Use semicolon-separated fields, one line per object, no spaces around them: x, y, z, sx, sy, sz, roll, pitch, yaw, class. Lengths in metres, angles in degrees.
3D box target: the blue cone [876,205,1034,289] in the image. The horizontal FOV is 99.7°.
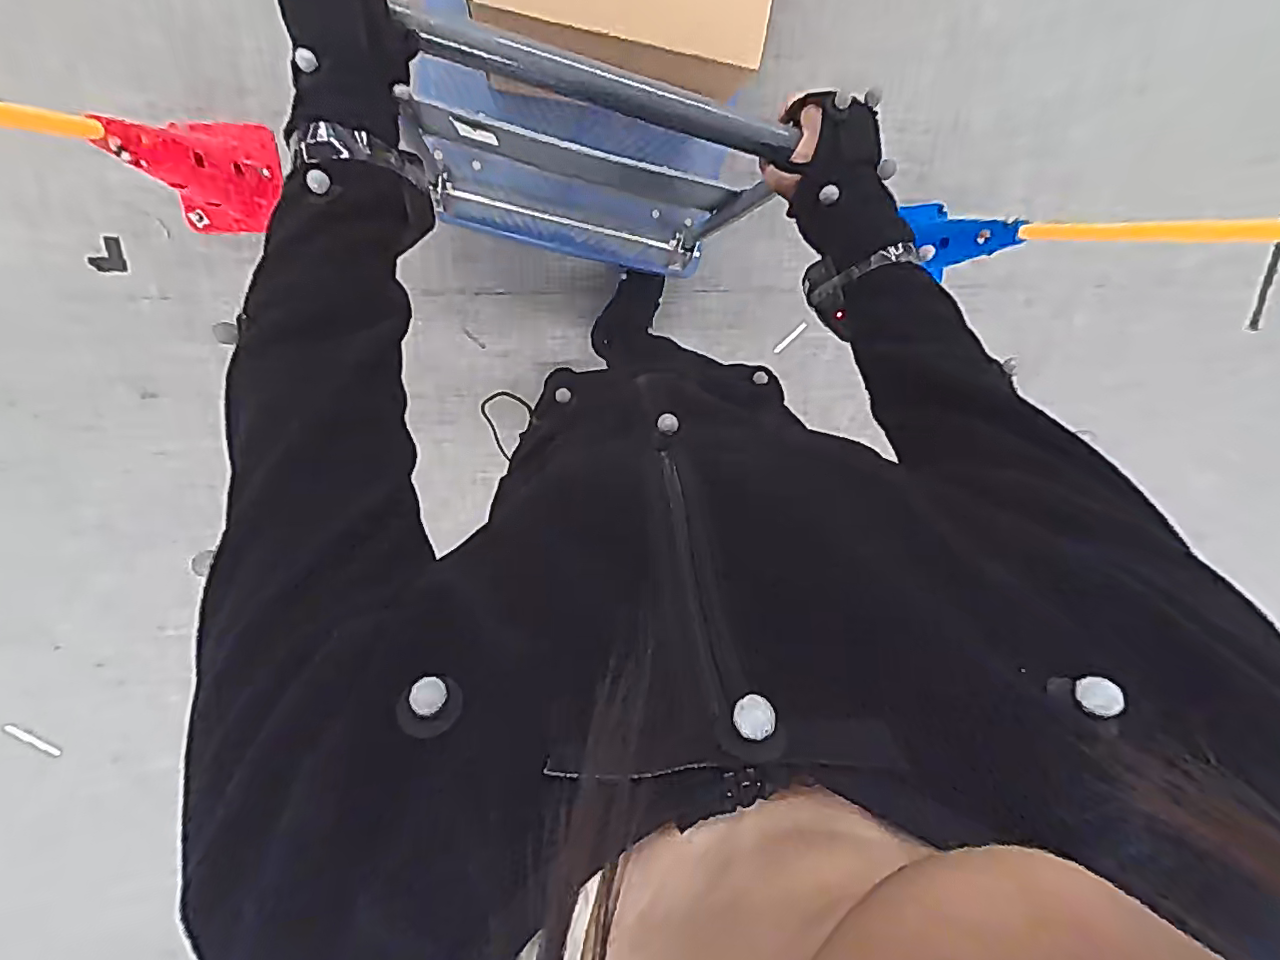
0.711;-0.540;1.213;0.193;0.380;0.192;-7;108;-8;blue cone
